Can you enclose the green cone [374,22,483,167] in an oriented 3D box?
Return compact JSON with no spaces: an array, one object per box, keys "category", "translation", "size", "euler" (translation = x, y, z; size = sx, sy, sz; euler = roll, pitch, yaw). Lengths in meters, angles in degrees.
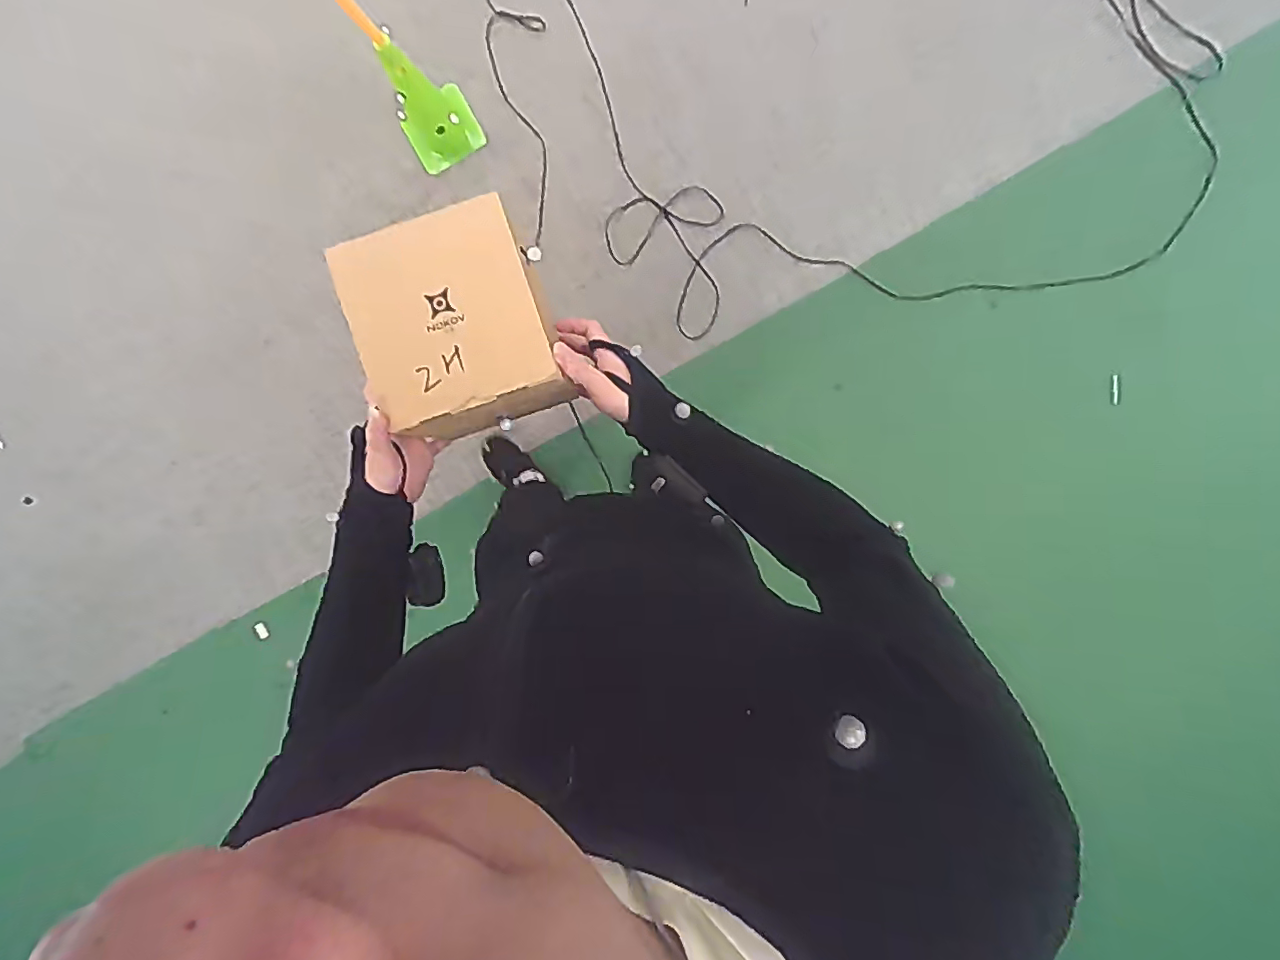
[{"category":"green cone","translation":[-0.585,-1.024,1.400],"size":[0.202,0.368,0.200],"euler":[-29,94,2]}]
